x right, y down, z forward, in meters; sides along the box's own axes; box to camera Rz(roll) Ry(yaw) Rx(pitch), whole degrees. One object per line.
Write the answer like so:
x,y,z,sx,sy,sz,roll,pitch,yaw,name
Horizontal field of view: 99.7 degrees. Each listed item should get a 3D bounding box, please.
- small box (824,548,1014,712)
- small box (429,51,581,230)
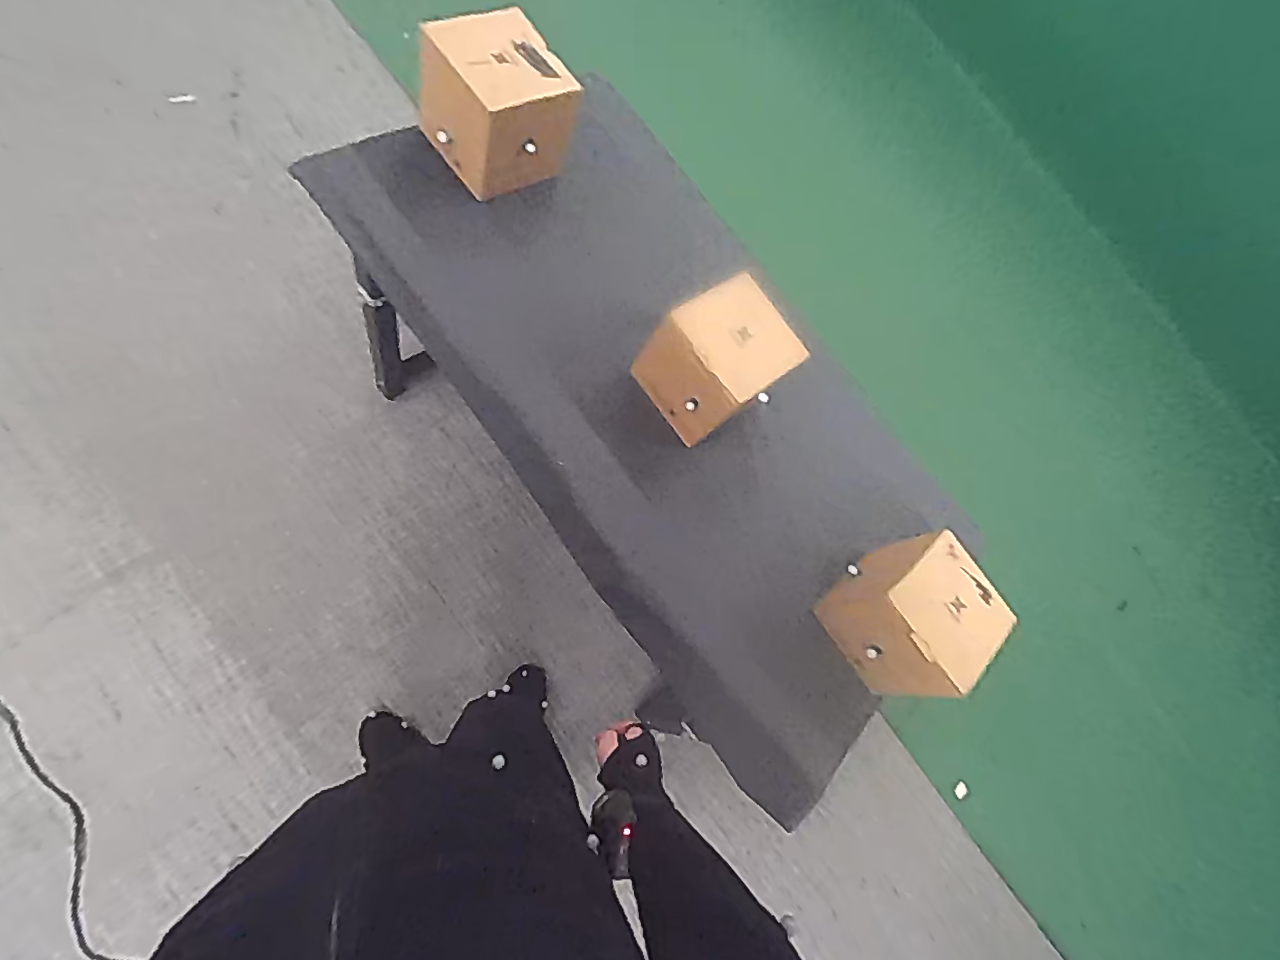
0.417,0.234,0.838,0.179,0.176,0.168,-33,84,-28,small box
-0.230,-0.553,0.892,0.179,0.176,0.168,-37,87,-29,small box
